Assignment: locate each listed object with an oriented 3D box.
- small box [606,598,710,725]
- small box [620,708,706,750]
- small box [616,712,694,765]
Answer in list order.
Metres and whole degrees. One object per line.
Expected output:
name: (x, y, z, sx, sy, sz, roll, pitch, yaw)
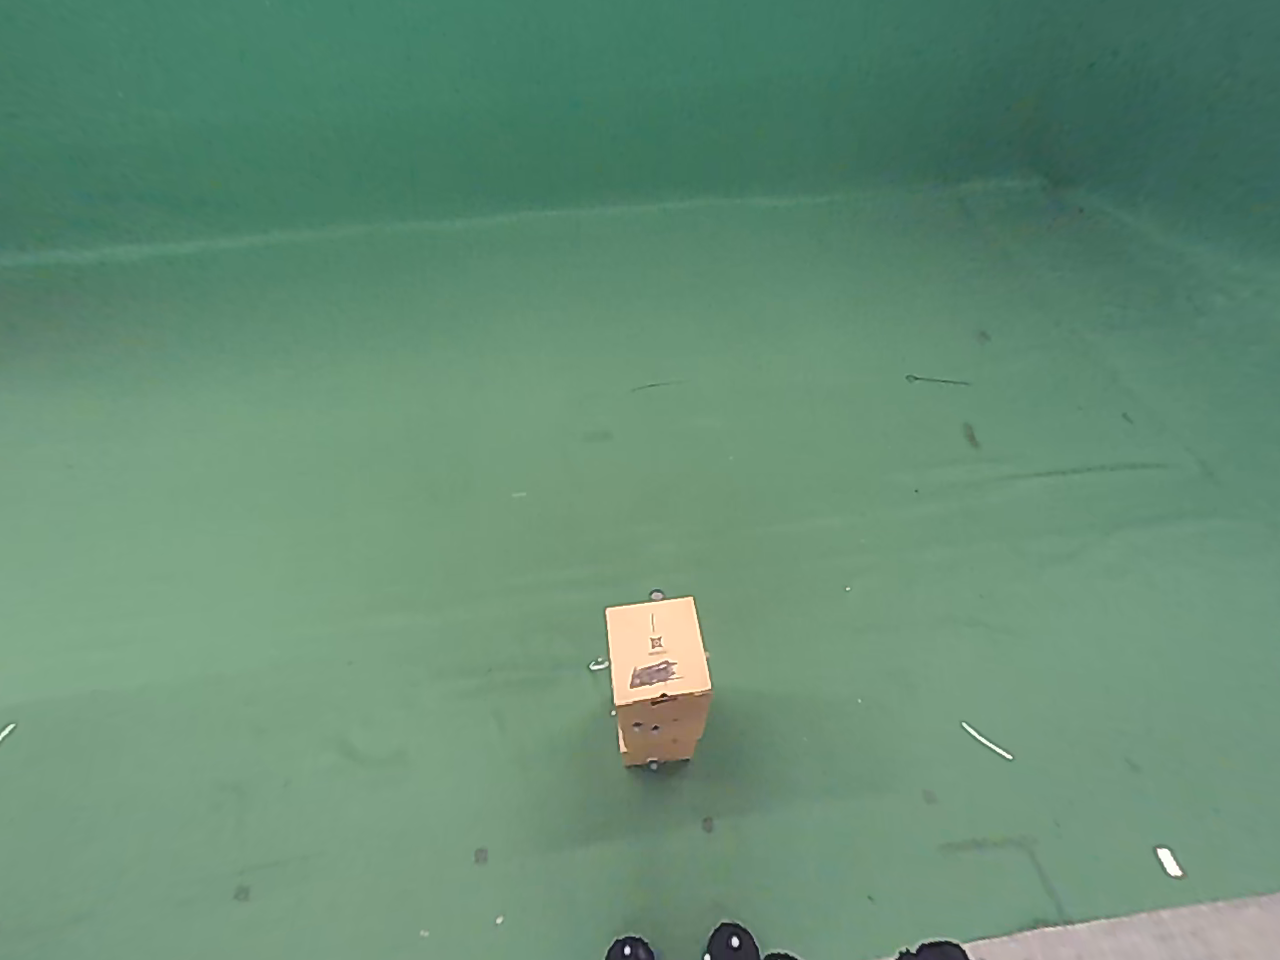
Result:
small box: (0.031, 0.344, 1.008, 0.168, 0.176, 0.179, -6, 51, -4)
small box: (0.037, 0.445, 1.138, 0.168, 0.176, 0.179, -7, 51, -3)
small box: (0.030, 0.540, 1.248, 0.168, 0.176, 0.179, -5, 52, 0)
